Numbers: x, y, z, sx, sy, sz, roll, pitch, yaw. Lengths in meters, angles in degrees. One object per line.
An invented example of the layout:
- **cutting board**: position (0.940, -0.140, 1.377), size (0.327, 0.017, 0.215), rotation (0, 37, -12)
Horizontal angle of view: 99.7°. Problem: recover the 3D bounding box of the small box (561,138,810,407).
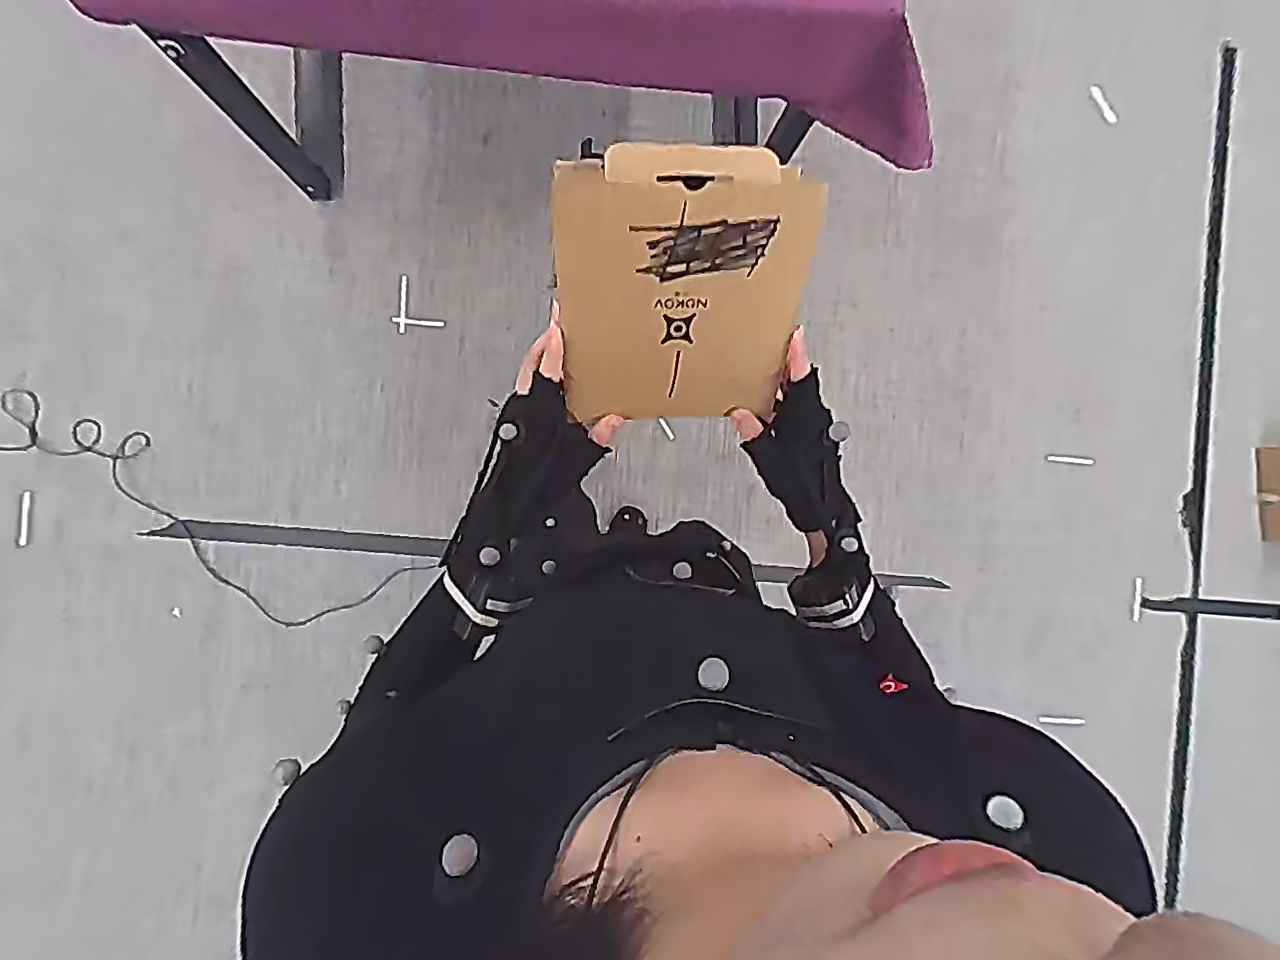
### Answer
- **small box**: position (0.020, -0.171, 0.449), size (0.168, 0.176, 0.179), rotation (-2, 118, -6)
